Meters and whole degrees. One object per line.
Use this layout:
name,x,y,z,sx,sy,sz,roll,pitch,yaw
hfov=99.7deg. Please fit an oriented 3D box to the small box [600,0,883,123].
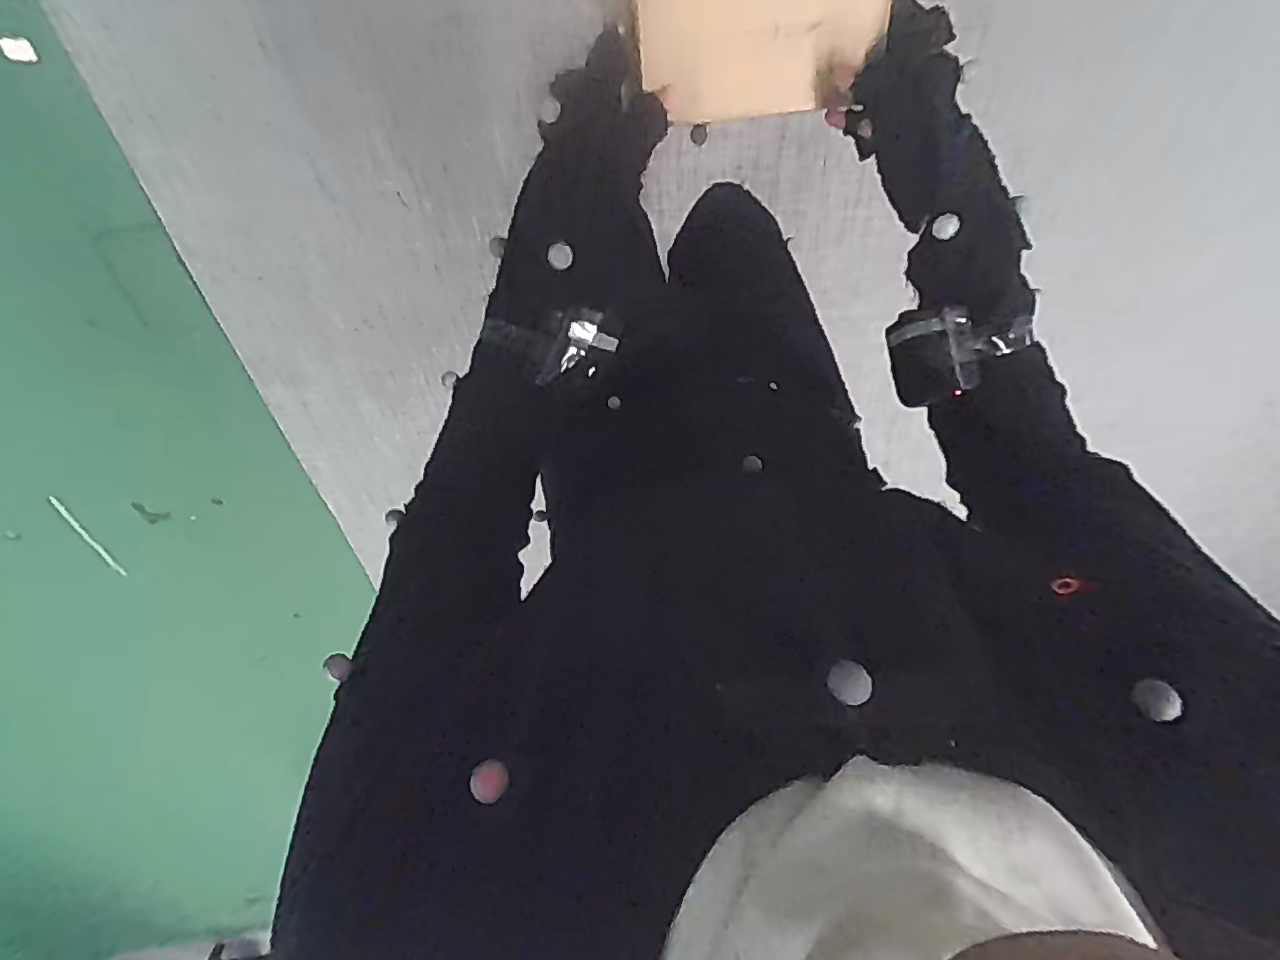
small box,0.059,-0.369,0.388,0.168,0.176,0.179,-10,125,-5
